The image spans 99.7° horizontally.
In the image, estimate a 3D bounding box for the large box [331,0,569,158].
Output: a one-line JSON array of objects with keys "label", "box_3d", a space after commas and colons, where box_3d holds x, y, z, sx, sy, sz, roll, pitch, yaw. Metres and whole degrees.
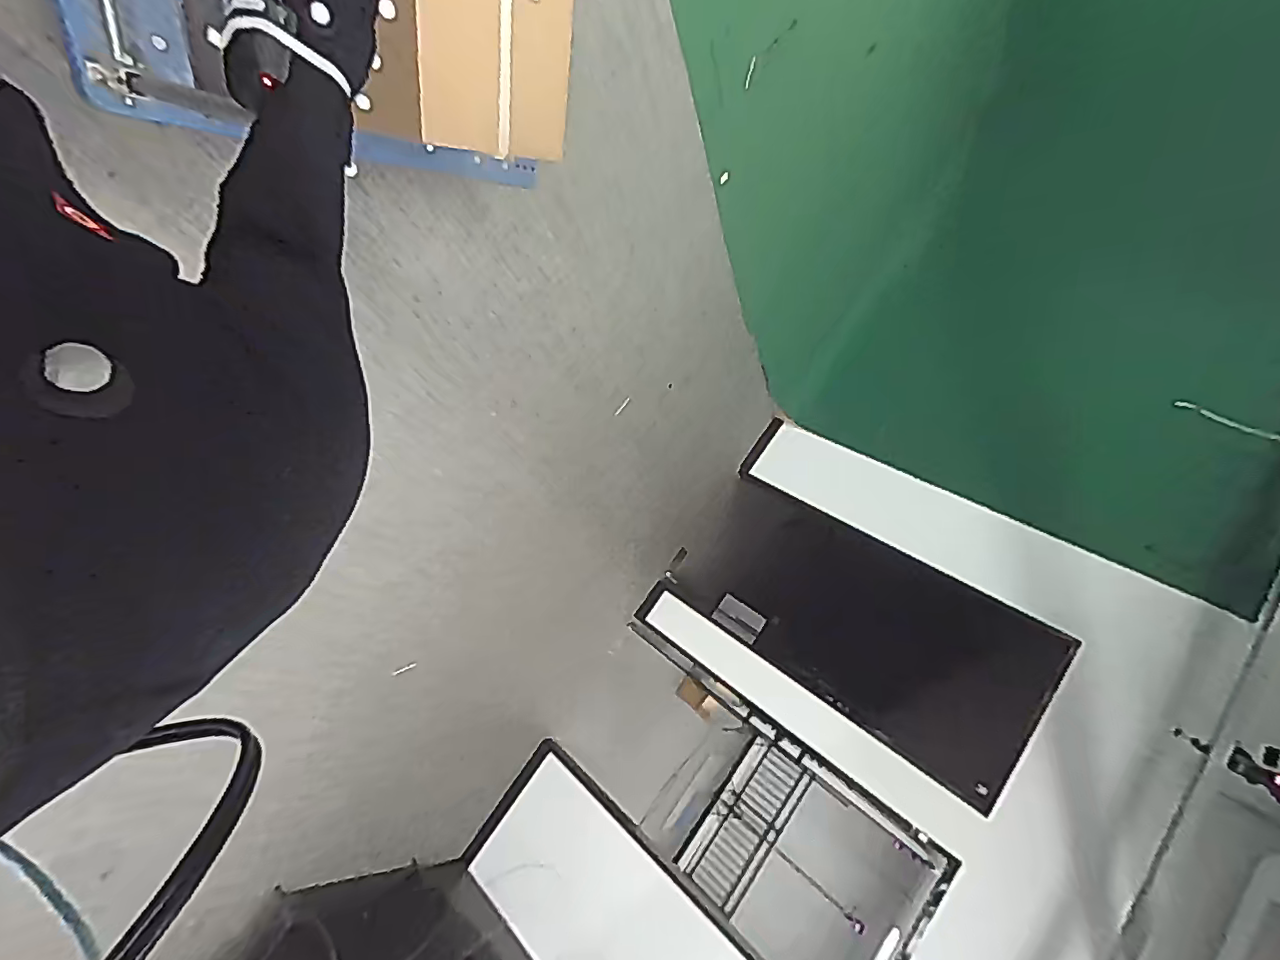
[{"label": "large box", "box_3d": [-0.347, -0.844, 0.991, 0.320, 0.320, 0.408, -25, 134, -43]}]
